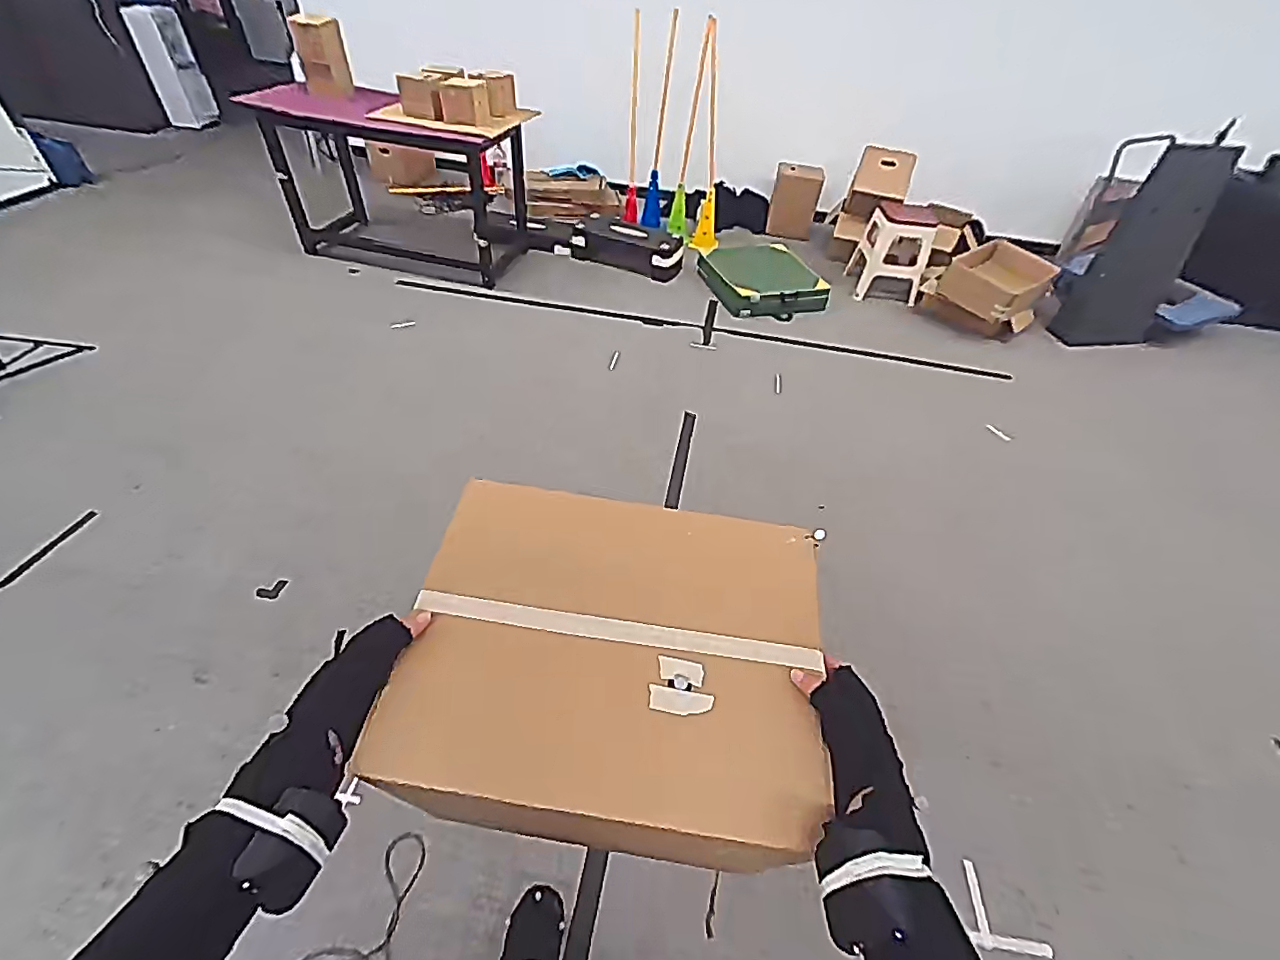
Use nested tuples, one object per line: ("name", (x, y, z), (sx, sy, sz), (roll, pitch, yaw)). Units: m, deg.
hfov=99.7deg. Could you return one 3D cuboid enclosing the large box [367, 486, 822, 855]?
("large box", (-0.034, 0.242, 0.667), (0.408, 0.320, 0.320), (9, 53, 2))
